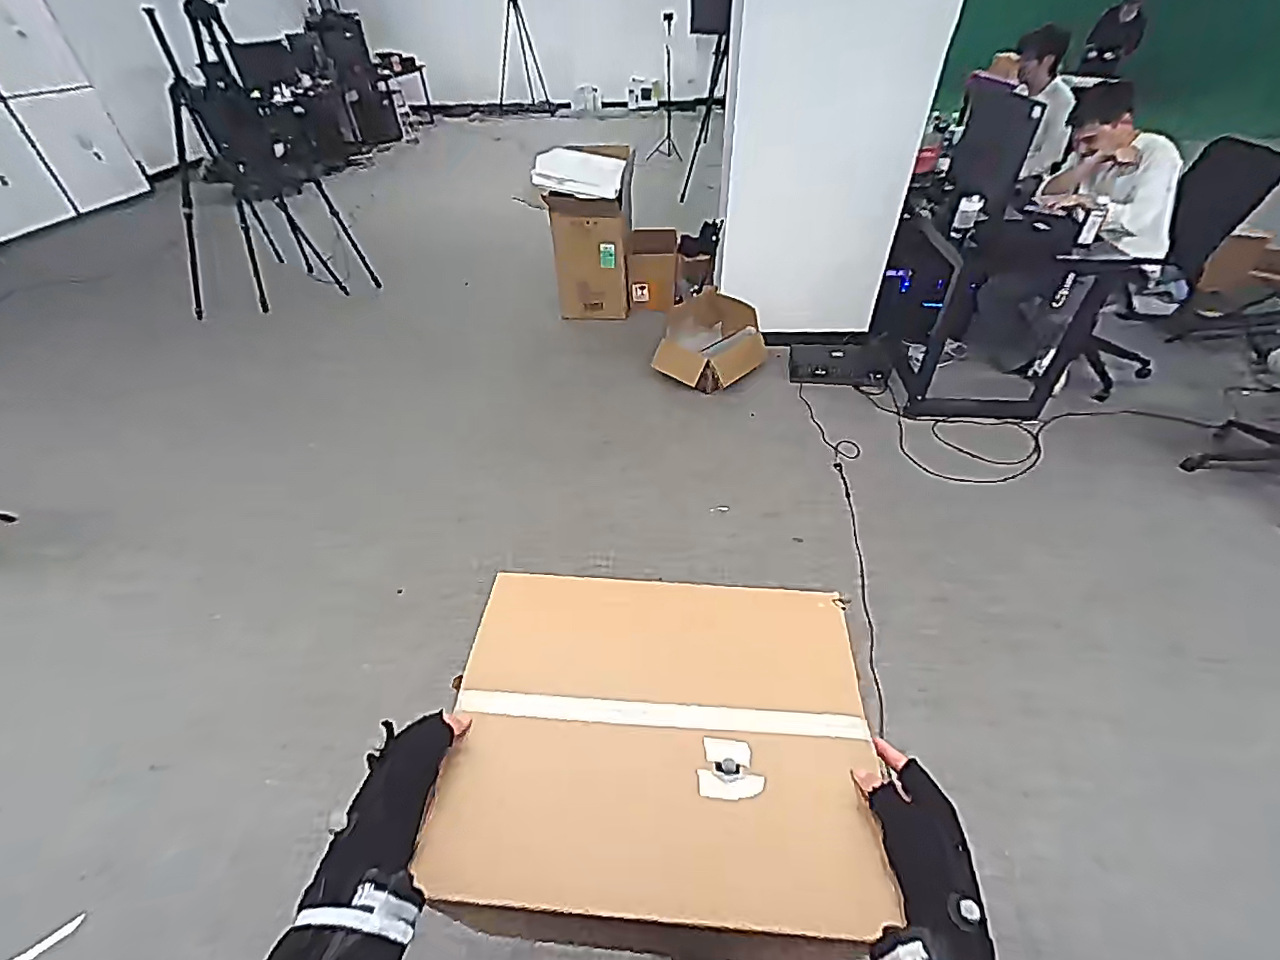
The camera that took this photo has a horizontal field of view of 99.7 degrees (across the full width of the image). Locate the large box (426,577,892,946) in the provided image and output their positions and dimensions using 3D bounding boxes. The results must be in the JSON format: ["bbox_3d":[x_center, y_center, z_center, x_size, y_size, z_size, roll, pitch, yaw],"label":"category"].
[{"bbox_3d":[0.020,0.342,0.661,0.408,0.320,0.320,3,46,3],"label":"large box"}]
